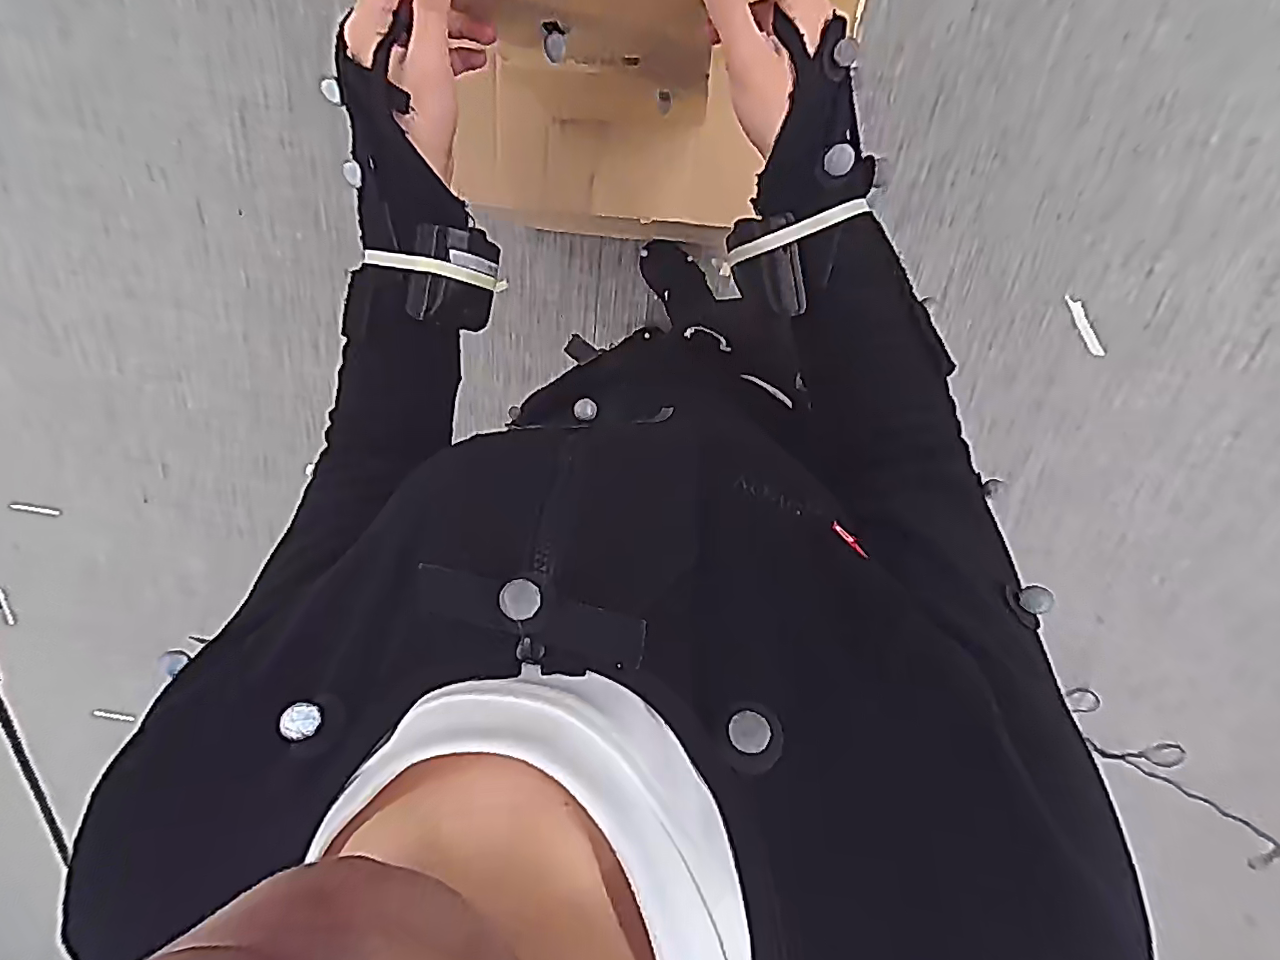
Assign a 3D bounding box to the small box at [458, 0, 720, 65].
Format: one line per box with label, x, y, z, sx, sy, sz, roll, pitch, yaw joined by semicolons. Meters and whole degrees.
small box;-0.028;-0.375;0.320;0.168;0.176;0.179;5;112;4
